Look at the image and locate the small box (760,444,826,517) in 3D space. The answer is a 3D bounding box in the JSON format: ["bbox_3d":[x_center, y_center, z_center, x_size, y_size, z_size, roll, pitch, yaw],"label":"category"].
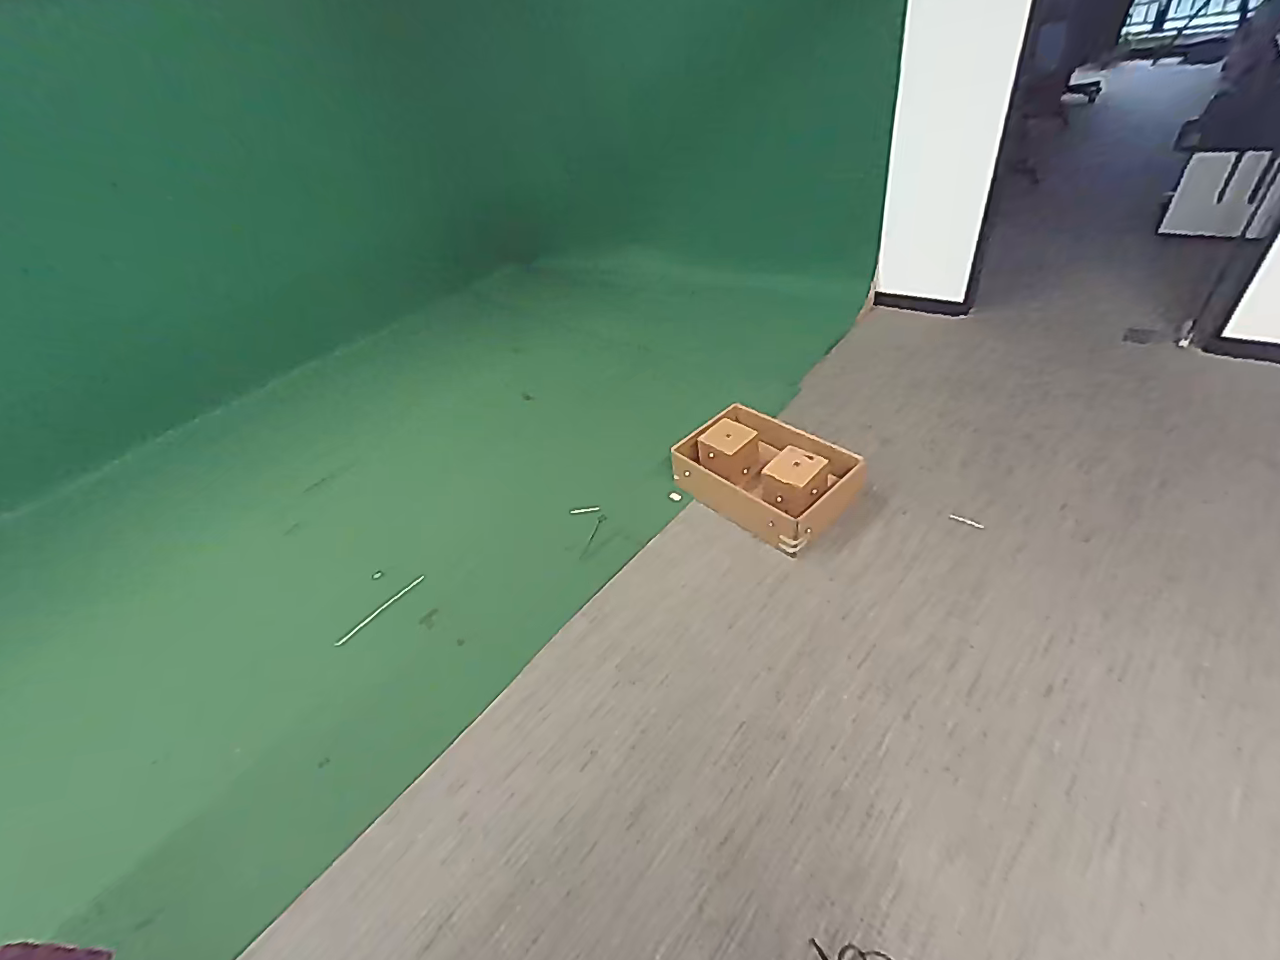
[{"bbox_3d":[0.555,0.004,1.958,0.168,0.176,0.179,29,57,37],"label":"small box"}]
